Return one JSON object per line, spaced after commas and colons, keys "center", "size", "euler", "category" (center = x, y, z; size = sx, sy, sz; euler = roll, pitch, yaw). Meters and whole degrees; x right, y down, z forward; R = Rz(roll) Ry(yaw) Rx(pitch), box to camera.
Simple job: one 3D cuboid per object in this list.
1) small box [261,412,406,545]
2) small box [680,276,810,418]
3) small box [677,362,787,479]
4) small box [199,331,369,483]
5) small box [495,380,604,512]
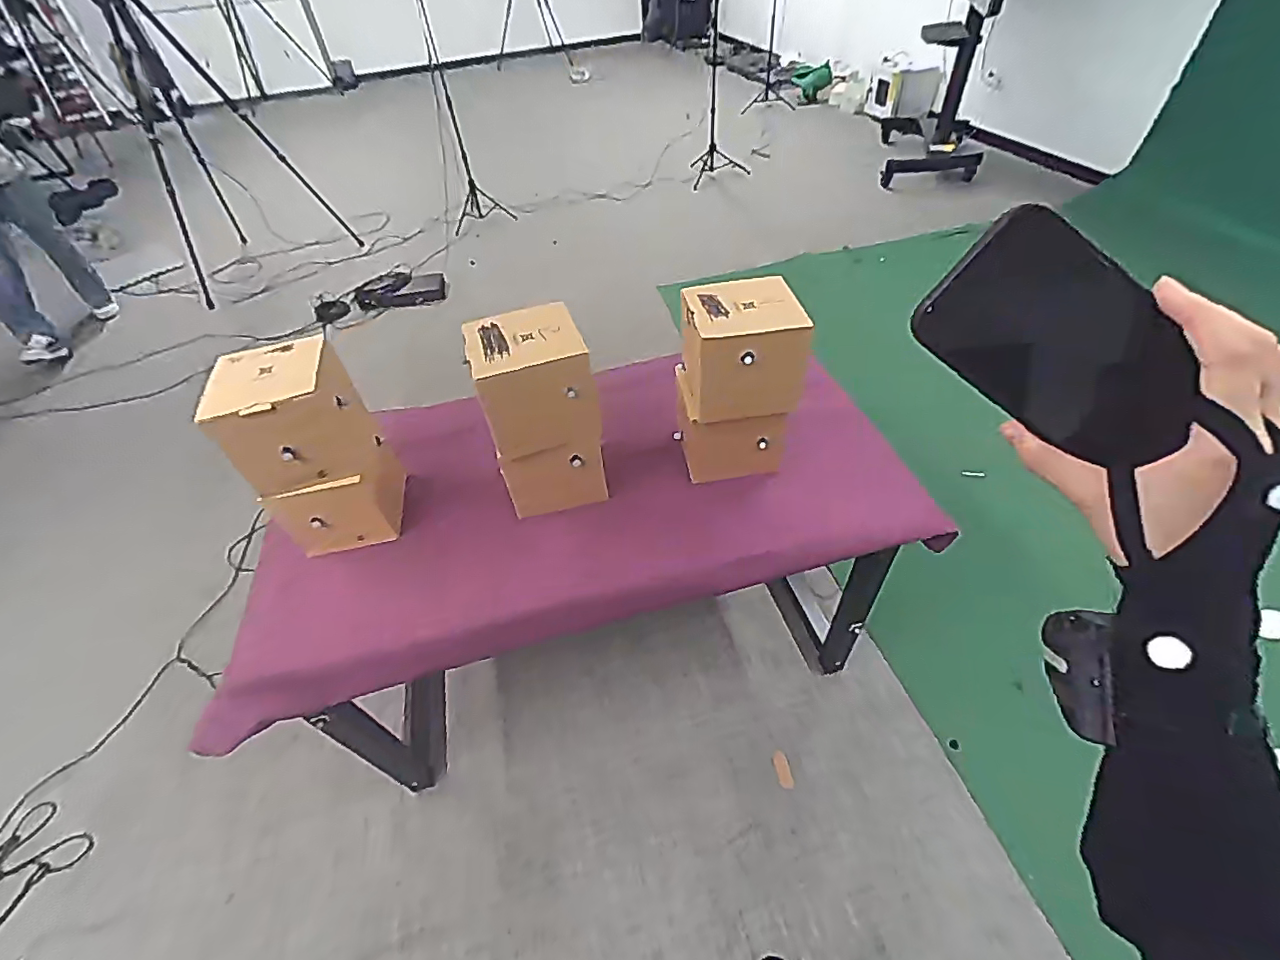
{"center": [-0.552, 0.003, 1.003], "size": [0.168, 0.176, 0.179], "euler": [-11, 47, -5], "category": "small box"}
{"center": [0.168, -0.222, 0.918], "size": [0.179, 0.176, 0.168], "euler": [-7, 47, -2], "category": "small box"}
{"center": [0.168, -0.120, 1.048], "size": [0.179, 0.176, 0.168], "euler": [-8, 47, 0], "category": "small box"}
{"center": [-0.565, -0.113, 0.888], "size": [0.168, 0.176, 0.179], "euler": [-15, 49, -9], "category": "small box"}
{"center": [-0.167, -0.062, 1.025], "size": [0.179, 0.176, 0.168], "euler": [-12, 48, -5], "category": "small box"}
